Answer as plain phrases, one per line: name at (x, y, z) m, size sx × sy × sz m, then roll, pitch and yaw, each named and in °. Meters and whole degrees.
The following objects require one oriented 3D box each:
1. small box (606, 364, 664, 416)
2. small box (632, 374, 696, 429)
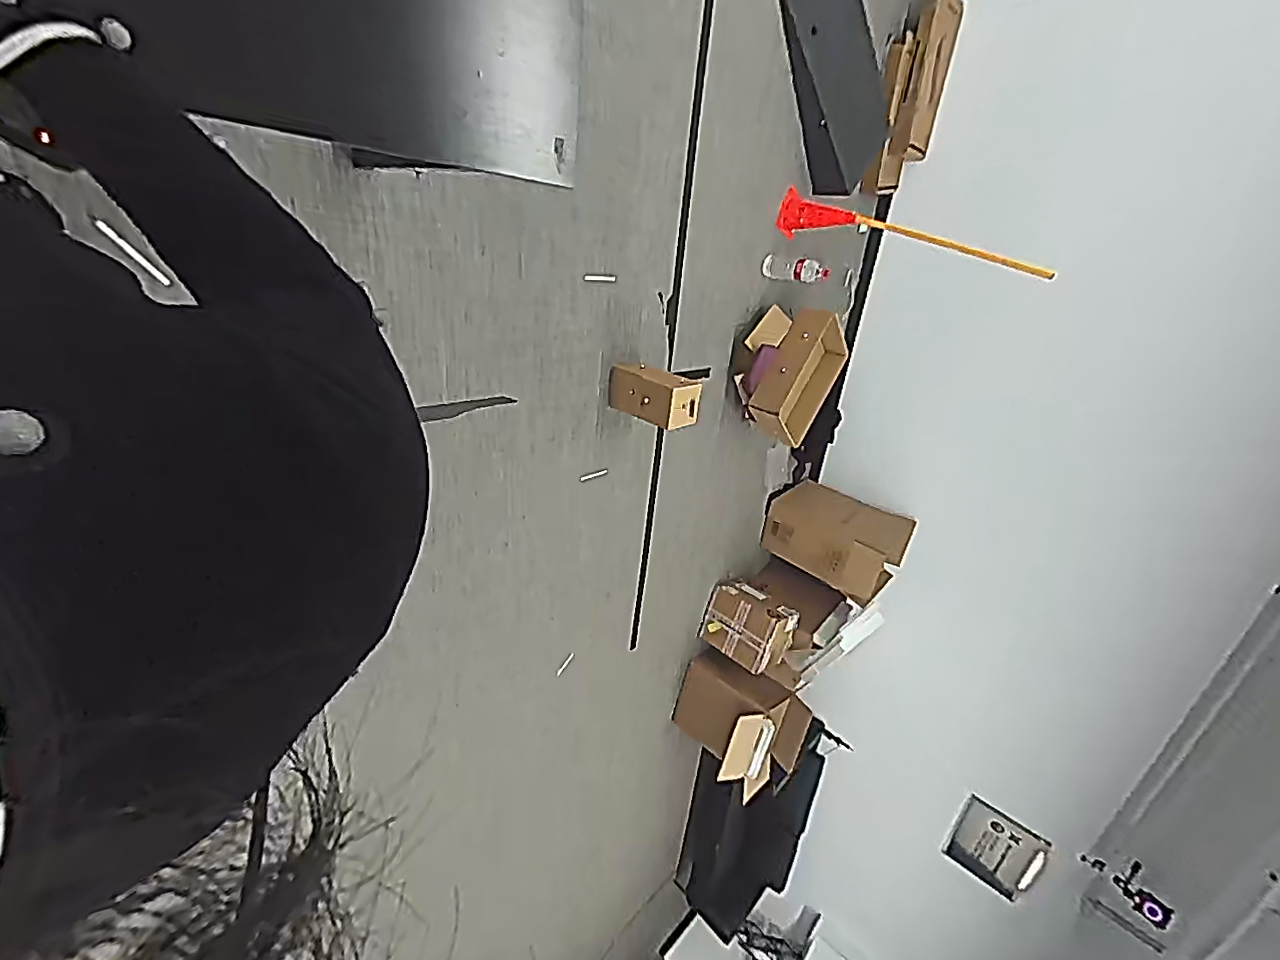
small box at (-0.025, -0.373, 2.211) m, size 0.168 × 0.176 × 0.179 m, roll -19°, pitch 125°, yaw -44°
small box at (0.092, -0.312, 2.112) m, size 0.179 × 0.176 × 0.168 m, roll -19°, pitch 124°, yaw -44°
